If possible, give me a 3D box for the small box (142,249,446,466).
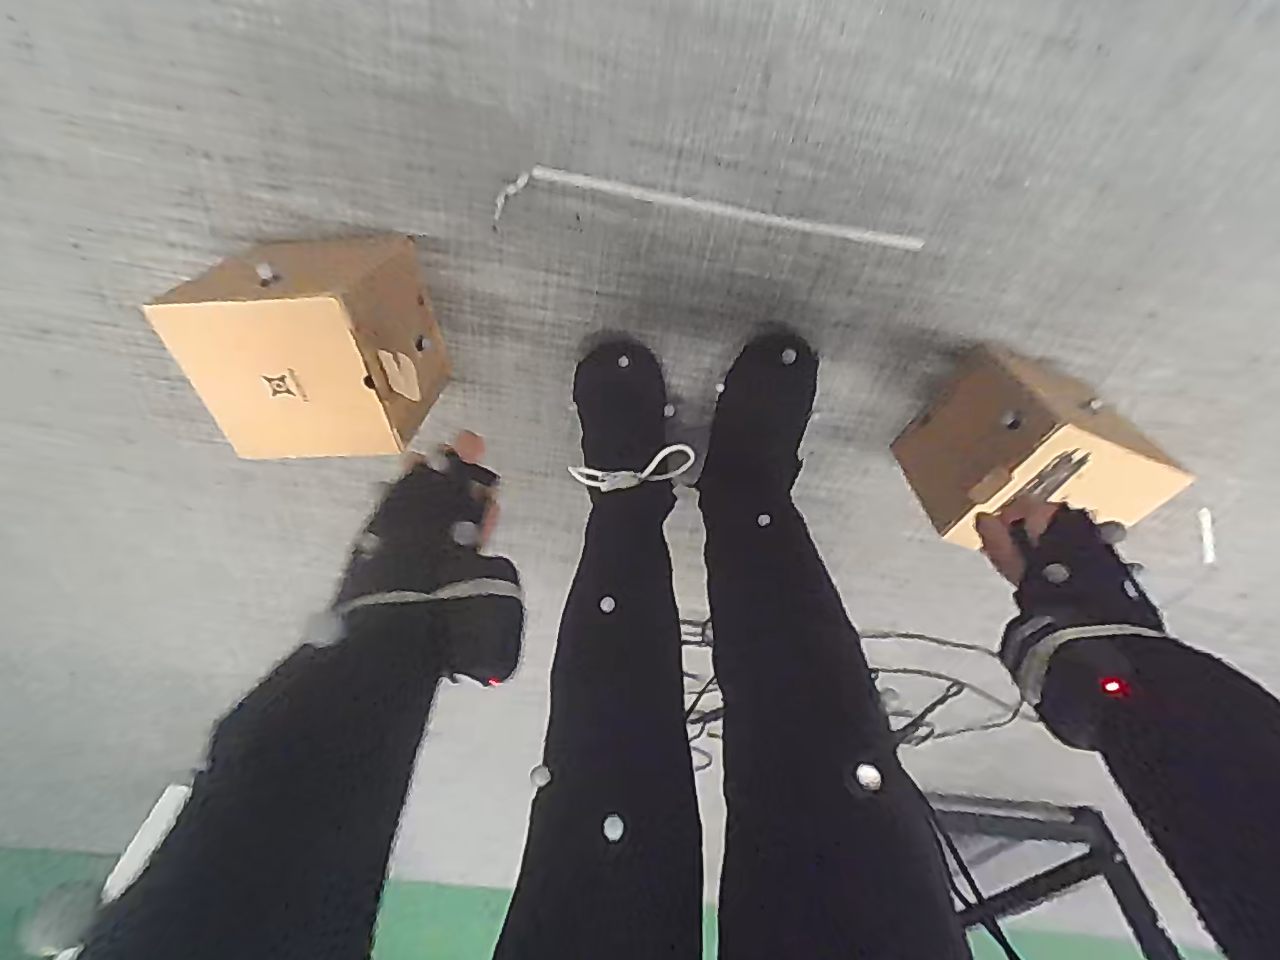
[{"bbox_3d":[-0.328,-0.130,0.561,0.179,0.176,0.168,-2,129,3],"label":"small box"}]
